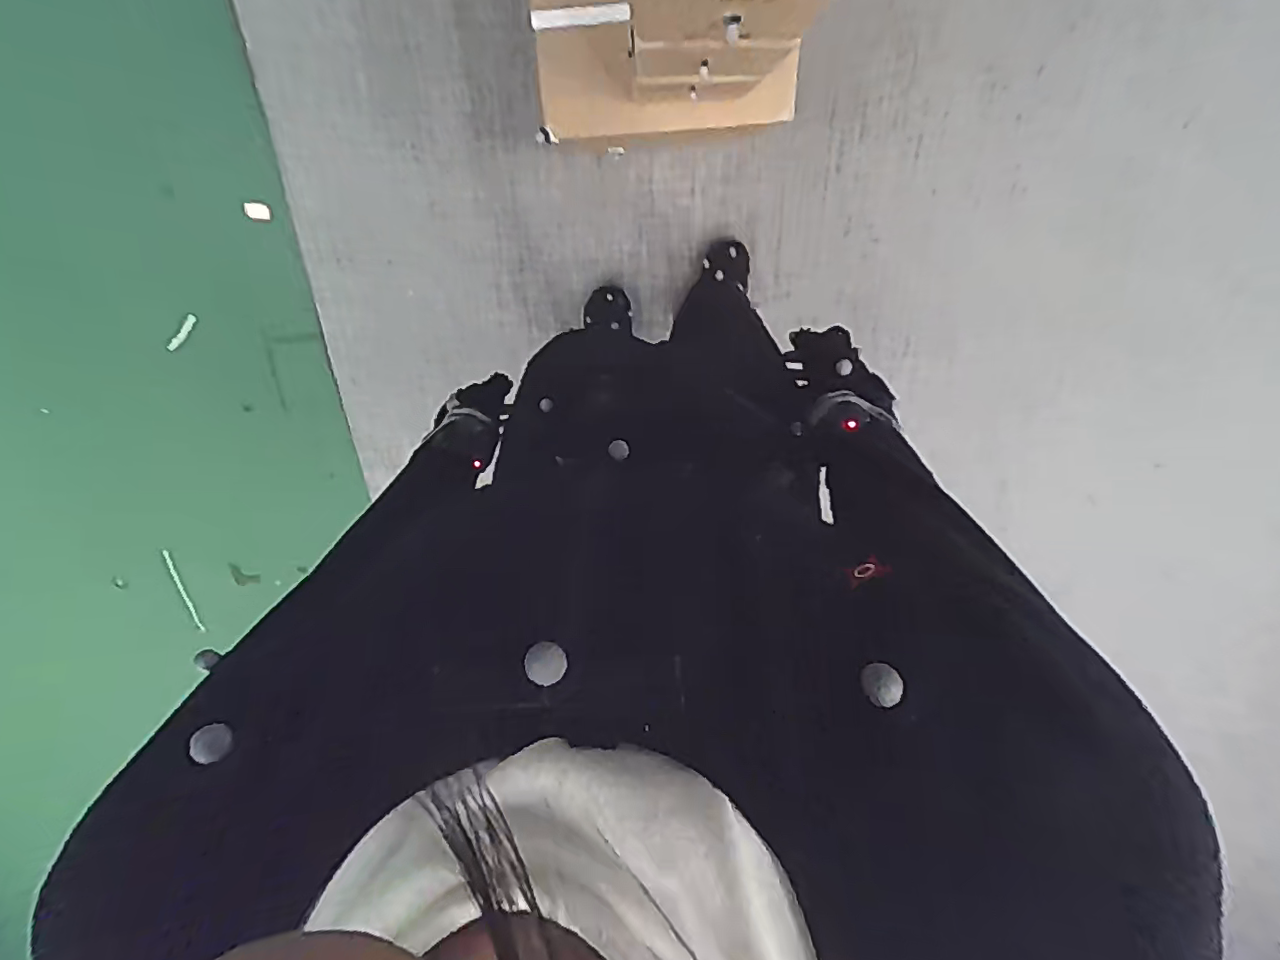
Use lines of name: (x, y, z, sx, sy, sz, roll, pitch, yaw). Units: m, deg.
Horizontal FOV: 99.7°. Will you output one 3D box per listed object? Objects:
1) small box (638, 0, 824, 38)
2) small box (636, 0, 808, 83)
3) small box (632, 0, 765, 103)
small box: (0.082, -0.495, 0.453, 0.168, 0.176, 0.179, 0, 118, 1)
small box: (0.084, -0.561, 0.603, 0.179, 0.176, 0.168, -3, 118, 1)
small box: (0.077, -0.635, 0.750, 0.179, 0.176, 0.168, -2, 118, 0)
